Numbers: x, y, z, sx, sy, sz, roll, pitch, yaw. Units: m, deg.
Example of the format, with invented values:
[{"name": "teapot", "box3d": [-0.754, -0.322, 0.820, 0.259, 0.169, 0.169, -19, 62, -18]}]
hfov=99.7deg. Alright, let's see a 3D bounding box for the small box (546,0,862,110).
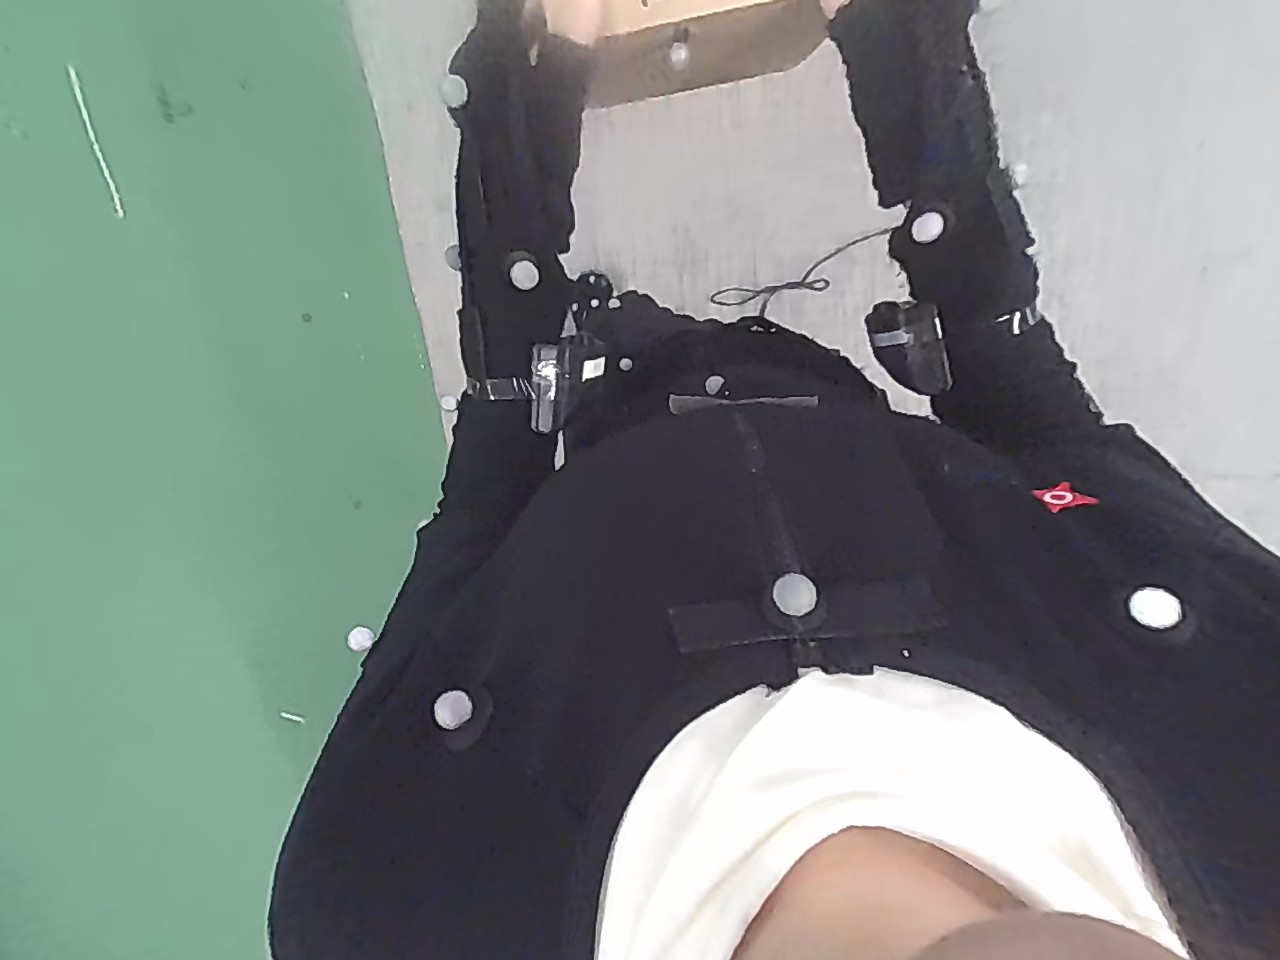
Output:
[{"name": "small box", "box3d": [0.025, -0.340, 0.303, 0.168, 0.176, 0.179, -8, 114, 5]}]
